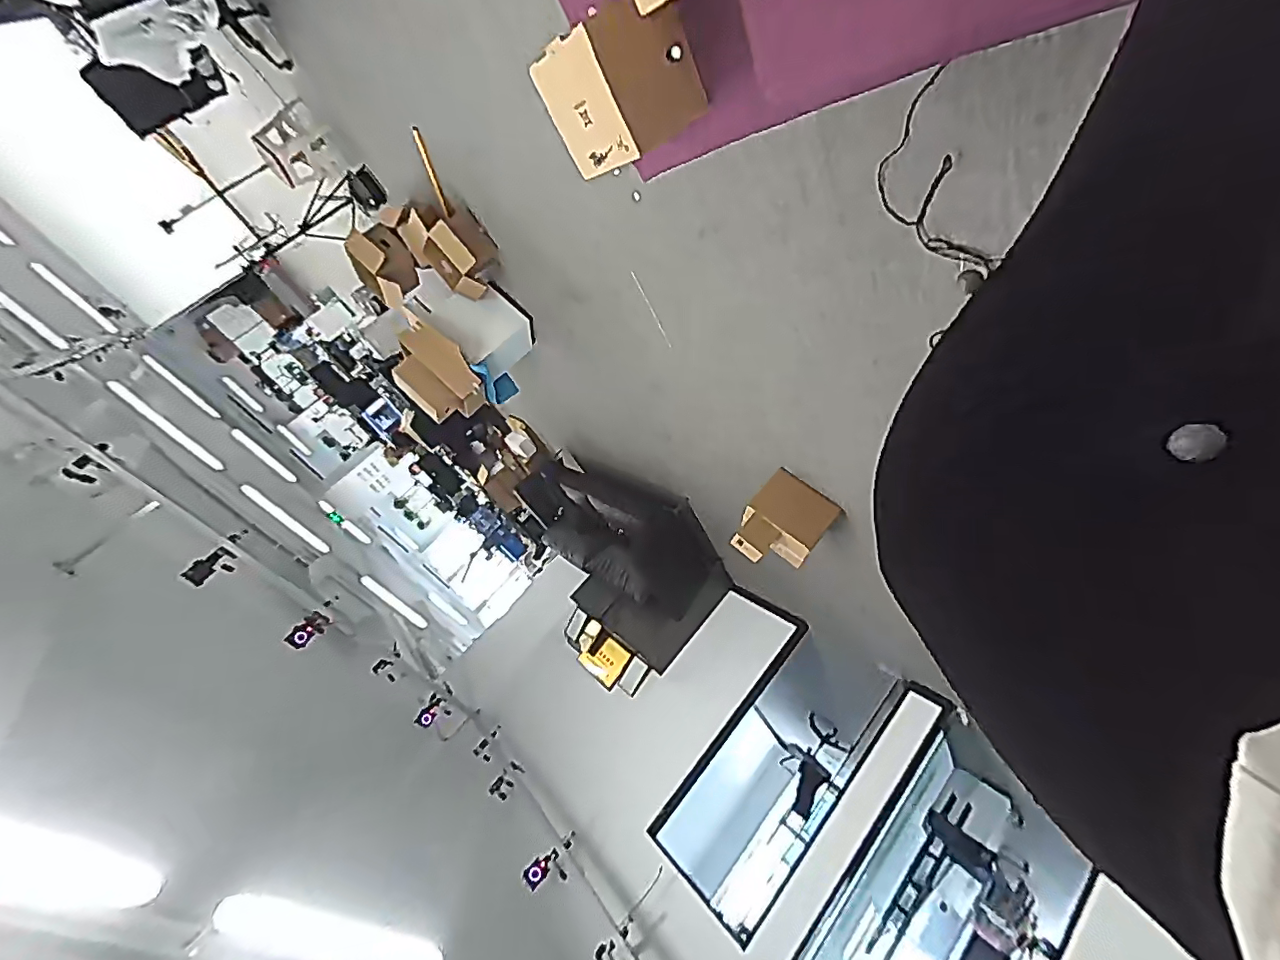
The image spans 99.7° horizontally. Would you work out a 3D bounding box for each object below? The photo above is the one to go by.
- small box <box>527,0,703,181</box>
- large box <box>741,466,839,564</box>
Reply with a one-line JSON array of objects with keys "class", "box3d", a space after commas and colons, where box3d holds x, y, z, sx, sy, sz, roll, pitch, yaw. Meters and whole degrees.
[{"class": "small box", "box3d": [-0.035, -0.606, 0.839, 0.168, 0.176, 0.179, 21, 150, 51]}, {"class": "large box", "box3d": [0.828, 0.195, 3.024, 0.408, 0.320, 0.320, 36, 162, 19]}]
